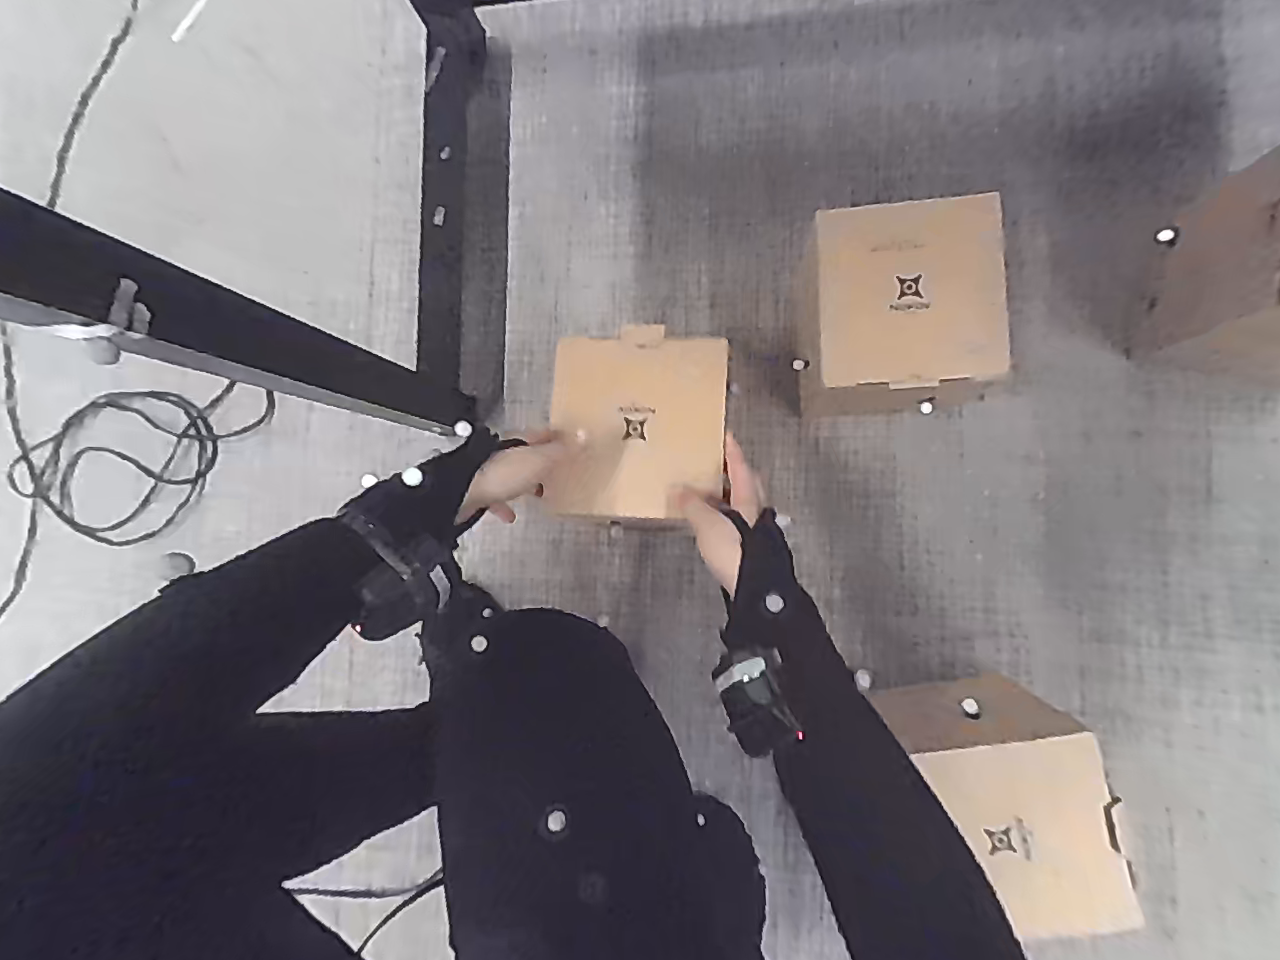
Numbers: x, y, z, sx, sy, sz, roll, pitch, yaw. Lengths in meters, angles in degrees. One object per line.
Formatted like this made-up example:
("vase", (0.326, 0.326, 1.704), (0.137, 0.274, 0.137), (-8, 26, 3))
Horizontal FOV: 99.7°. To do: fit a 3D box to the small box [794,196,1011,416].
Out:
("small box", (0.262, -0.166, 0.578), (0.168, 0.176, 0.179), (-2, 85, 8))
